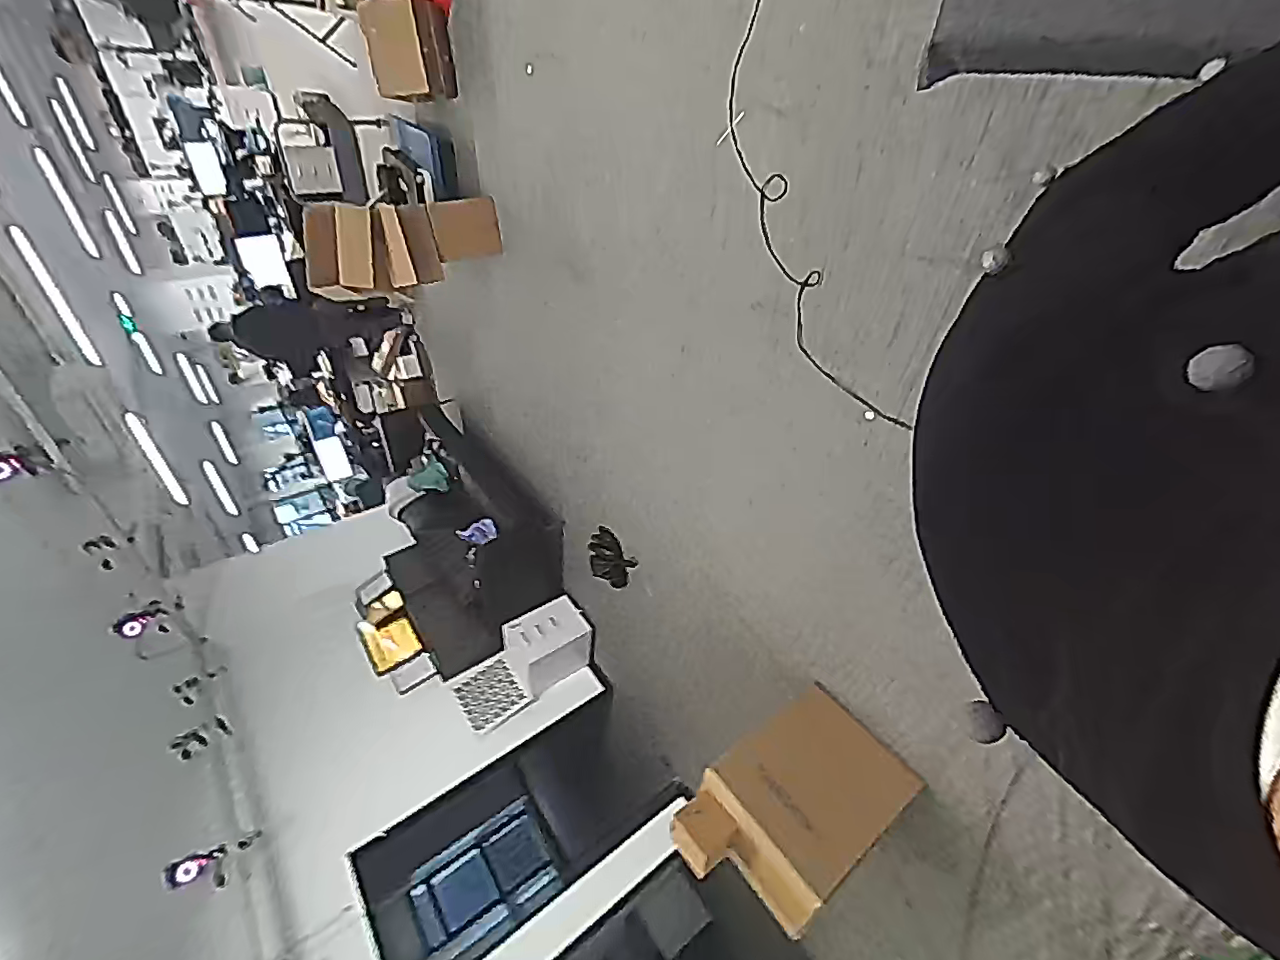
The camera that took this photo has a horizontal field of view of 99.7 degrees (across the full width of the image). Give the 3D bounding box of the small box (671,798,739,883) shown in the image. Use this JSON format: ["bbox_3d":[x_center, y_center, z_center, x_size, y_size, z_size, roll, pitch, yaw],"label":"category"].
[{"bbox_3d":[0.237,1.315,1.990,0.179,0.176,0.168,33,132,43],"label":"small box"}]
